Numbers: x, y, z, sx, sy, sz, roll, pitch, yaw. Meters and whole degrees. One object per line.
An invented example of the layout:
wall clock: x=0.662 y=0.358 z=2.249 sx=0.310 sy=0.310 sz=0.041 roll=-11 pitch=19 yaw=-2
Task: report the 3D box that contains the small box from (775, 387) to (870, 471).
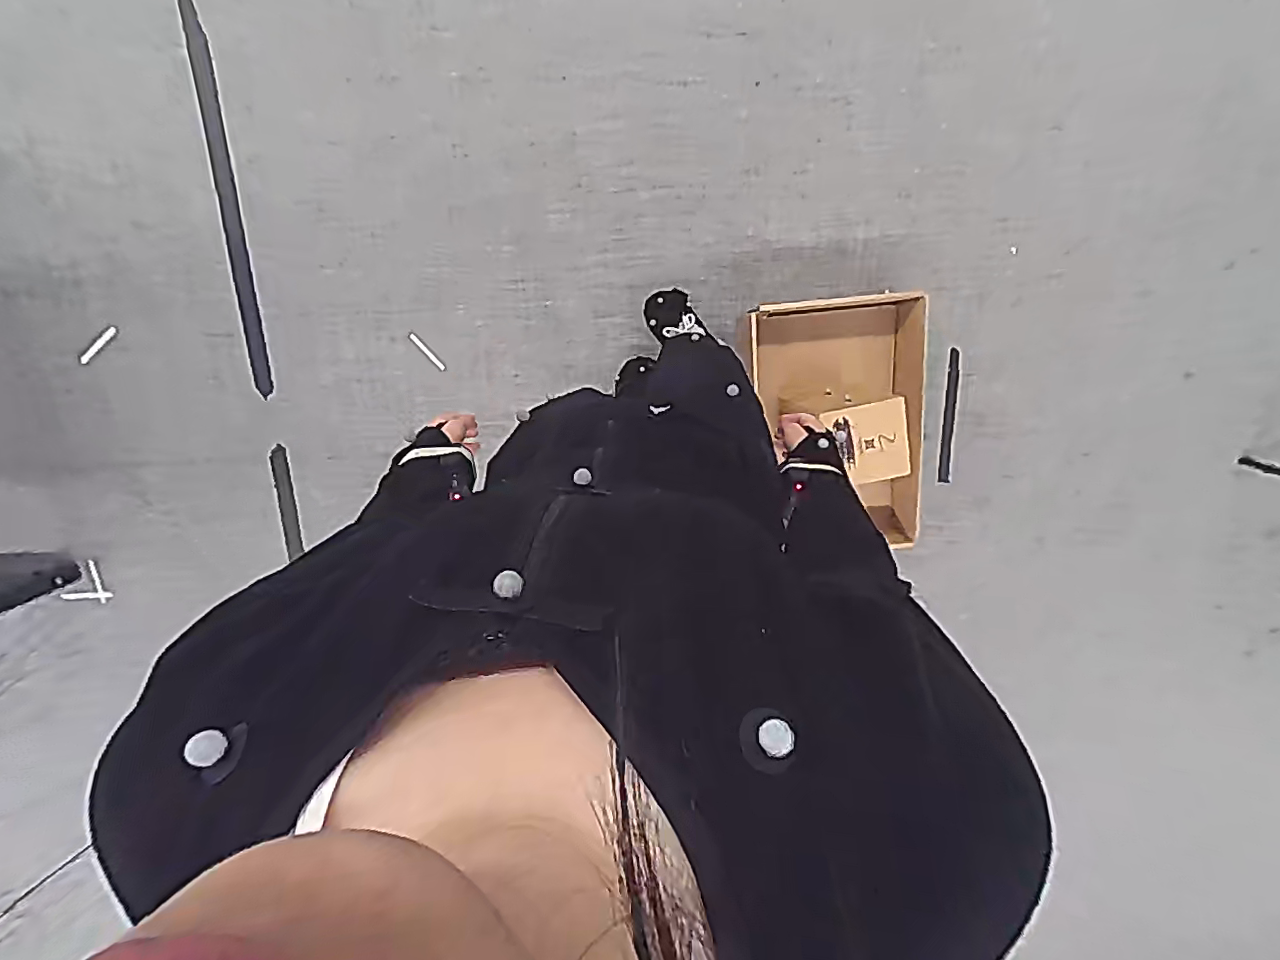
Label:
small box: x=0.450 y=-0.134 z=1.348 sx=0.179 sy=0.176 sz=0.168 roll=-10 pitch=104 yaw=3
